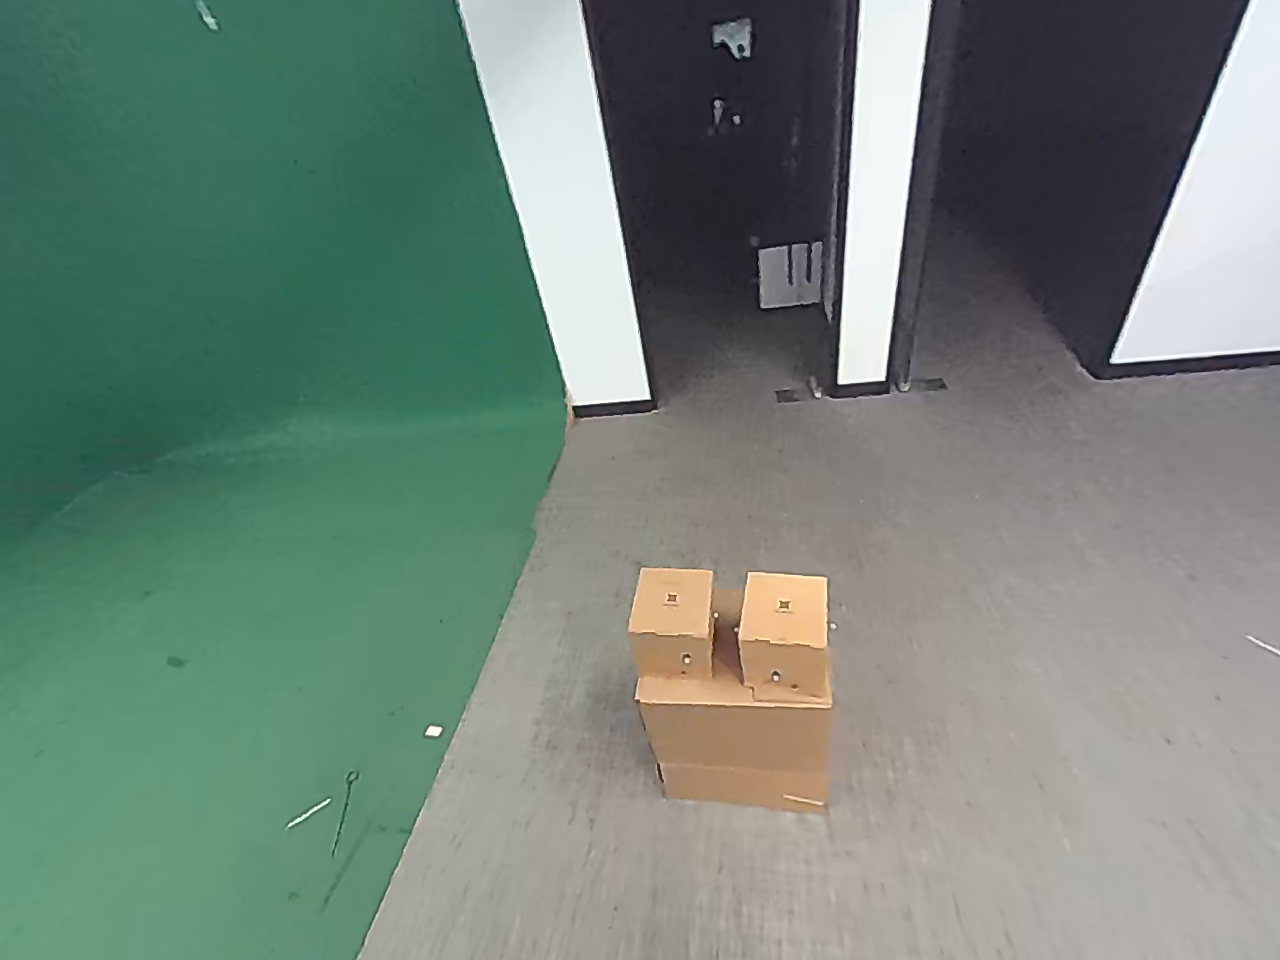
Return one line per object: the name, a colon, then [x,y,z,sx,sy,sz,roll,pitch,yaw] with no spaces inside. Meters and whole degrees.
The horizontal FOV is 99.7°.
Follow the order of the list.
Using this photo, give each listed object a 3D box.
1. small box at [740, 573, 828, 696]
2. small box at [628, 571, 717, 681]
small box: [0.306,0.321,1.135,0.168,0.176,0.179,0,39,18]
small box: [0.081,0.323,1.200,0.168,0.176,0.179,0,39,12]
